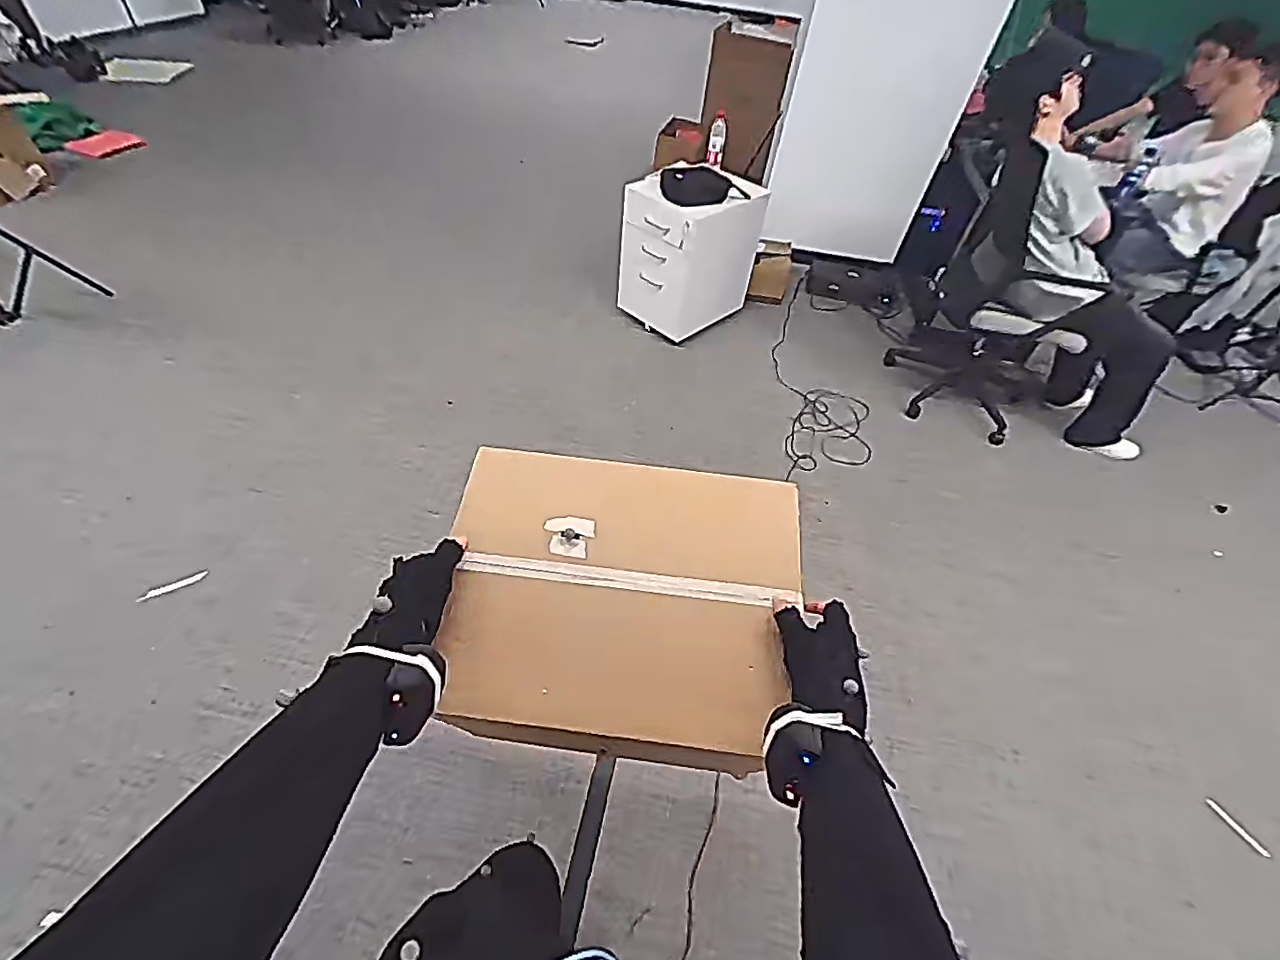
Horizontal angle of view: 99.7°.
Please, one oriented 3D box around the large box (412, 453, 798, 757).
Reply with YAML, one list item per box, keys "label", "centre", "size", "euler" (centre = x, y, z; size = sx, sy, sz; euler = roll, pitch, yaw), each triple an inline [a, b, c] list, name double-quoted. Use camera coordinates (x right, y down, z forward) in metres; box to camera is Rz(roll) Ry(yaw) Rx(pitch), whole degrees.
- label: "large box"
  centre: [-0.024, 0.188, 0.749]
  size: [0.408, 0.320, 0.320]
  euler: [6, 59, 2]
